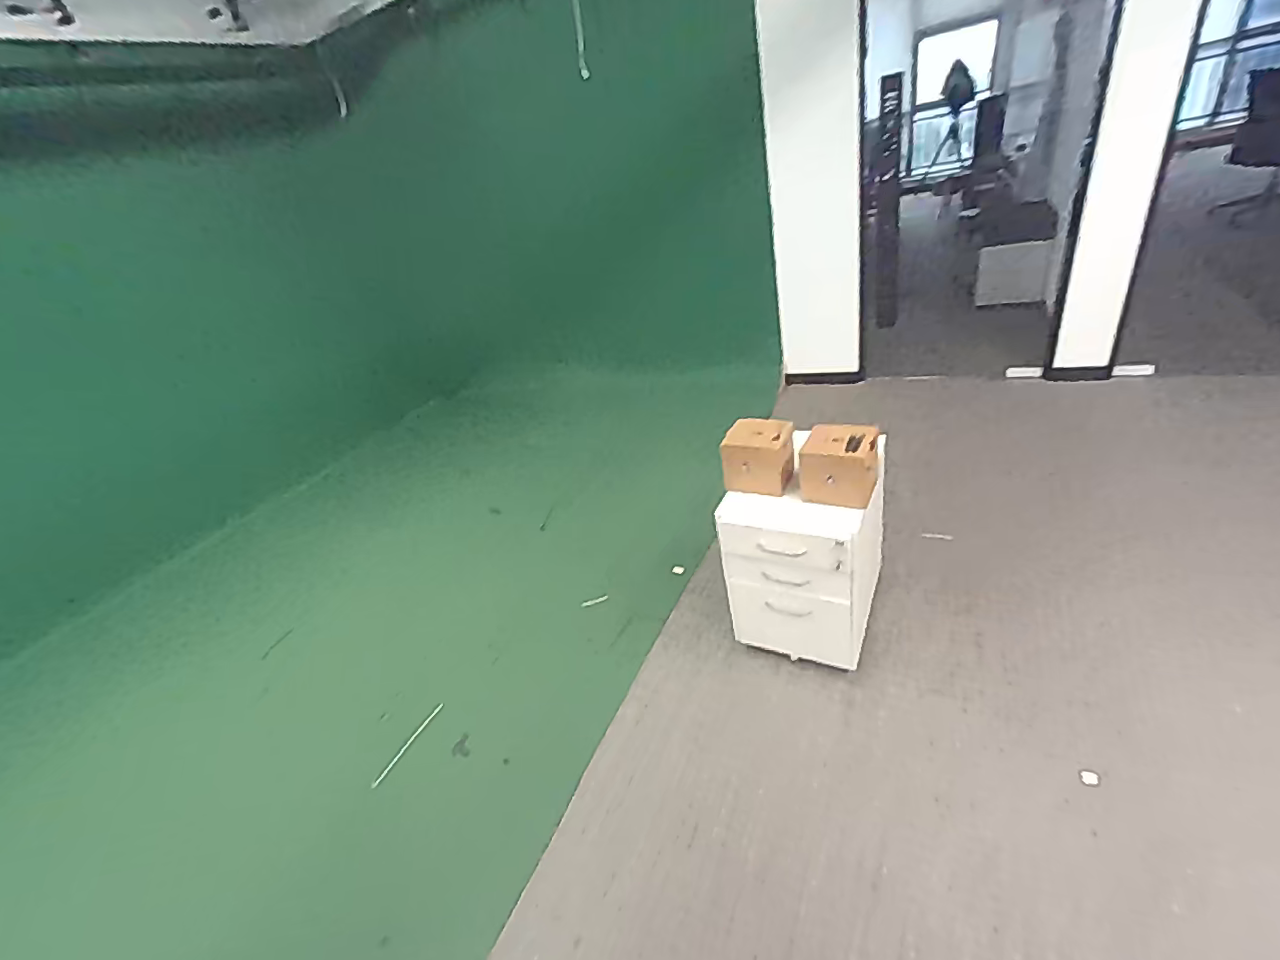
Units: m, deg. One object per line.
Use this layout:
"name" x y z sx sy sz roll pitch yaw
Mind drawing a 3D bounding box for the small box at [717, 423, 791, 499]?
"small box" 0.352 -0.059 1.643 0.179 0.176 0.168 7 36 29
